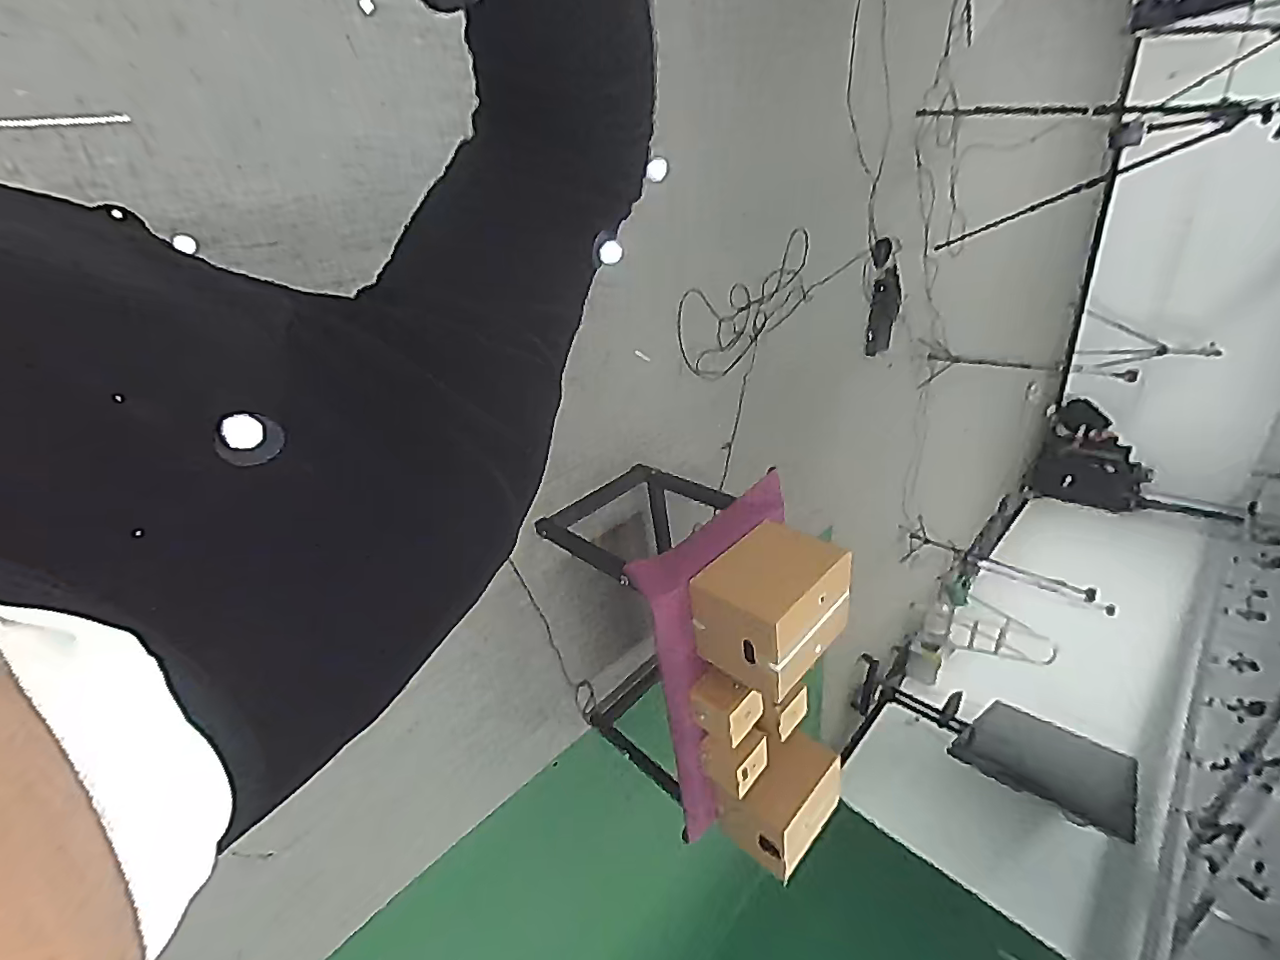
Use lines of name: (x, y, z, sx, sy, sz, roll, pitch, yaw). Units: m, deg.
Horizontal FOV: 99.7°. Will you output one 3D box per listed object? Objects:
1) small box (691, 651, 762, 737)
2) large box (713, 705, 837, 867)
small box: (0.293, 0.715, 1.827, 0.179, 0.176, 0.168, -33, 126, -35)
large box: (0.546, 1.208, 2.178, 0.408, 0.320, 0.320, -29, 123, -35)
